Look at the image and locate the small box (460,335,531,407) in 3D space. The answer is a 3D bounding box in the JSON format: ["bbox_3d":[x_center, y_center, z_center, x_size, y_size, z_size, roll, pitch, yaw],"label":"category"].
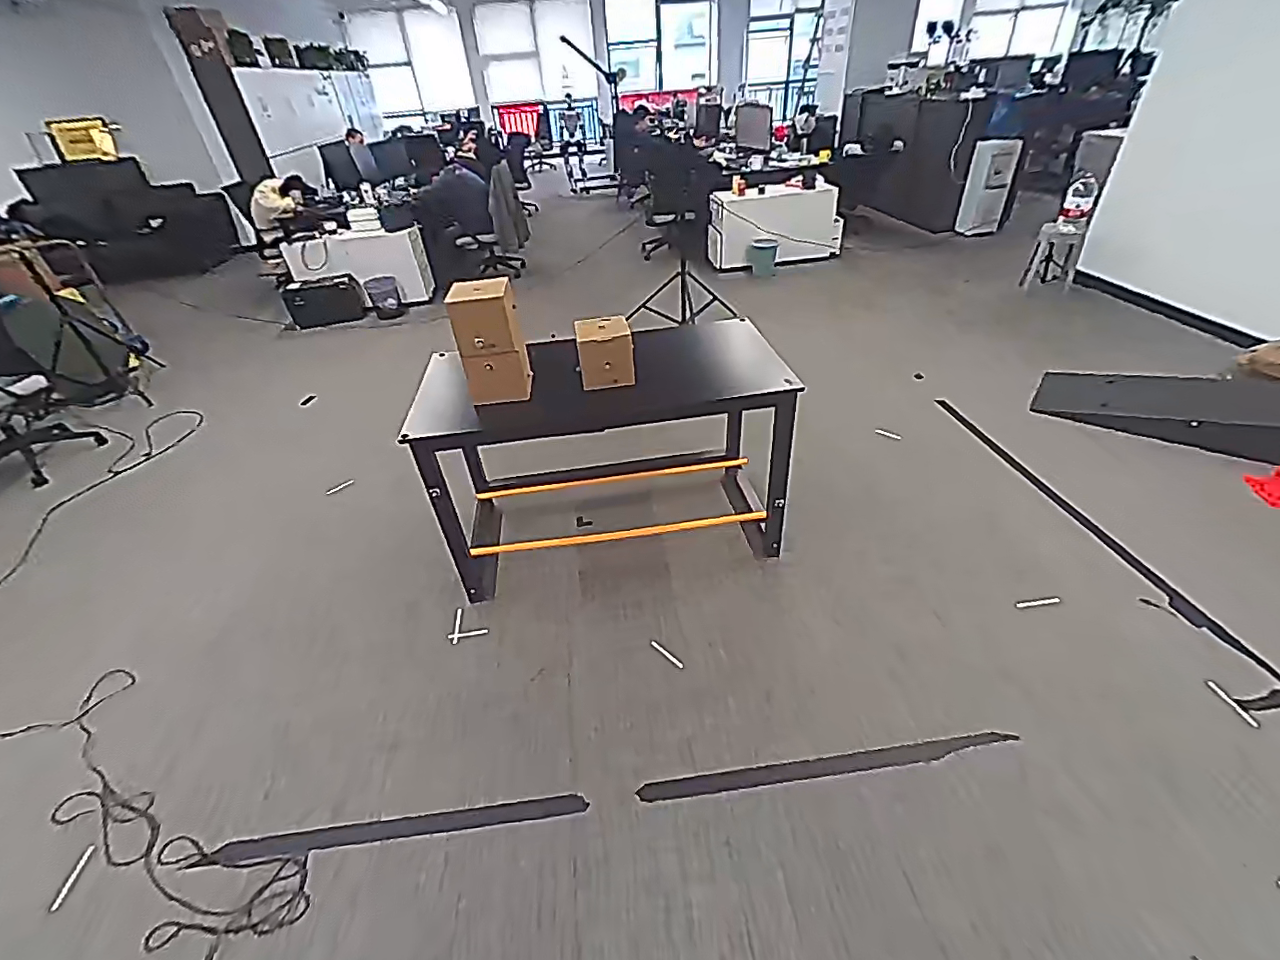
[{"bbox_3d":[-0.451,-0.342,1.712,0.179,0.176,0.168,-6,37,-3],"label":"small box"}]

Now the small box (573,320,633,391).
[{"bbox_3d":[-0.120,-0.397,1.748,0.168,0.176,0.179,-9,37,-5],"label":"small box"}]

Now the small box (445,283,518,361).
[{"bbox_3d":[-0.464,-0.471,1.613,0.168,0.176,0.179,-9,38,-3],"label":"small box"}]
